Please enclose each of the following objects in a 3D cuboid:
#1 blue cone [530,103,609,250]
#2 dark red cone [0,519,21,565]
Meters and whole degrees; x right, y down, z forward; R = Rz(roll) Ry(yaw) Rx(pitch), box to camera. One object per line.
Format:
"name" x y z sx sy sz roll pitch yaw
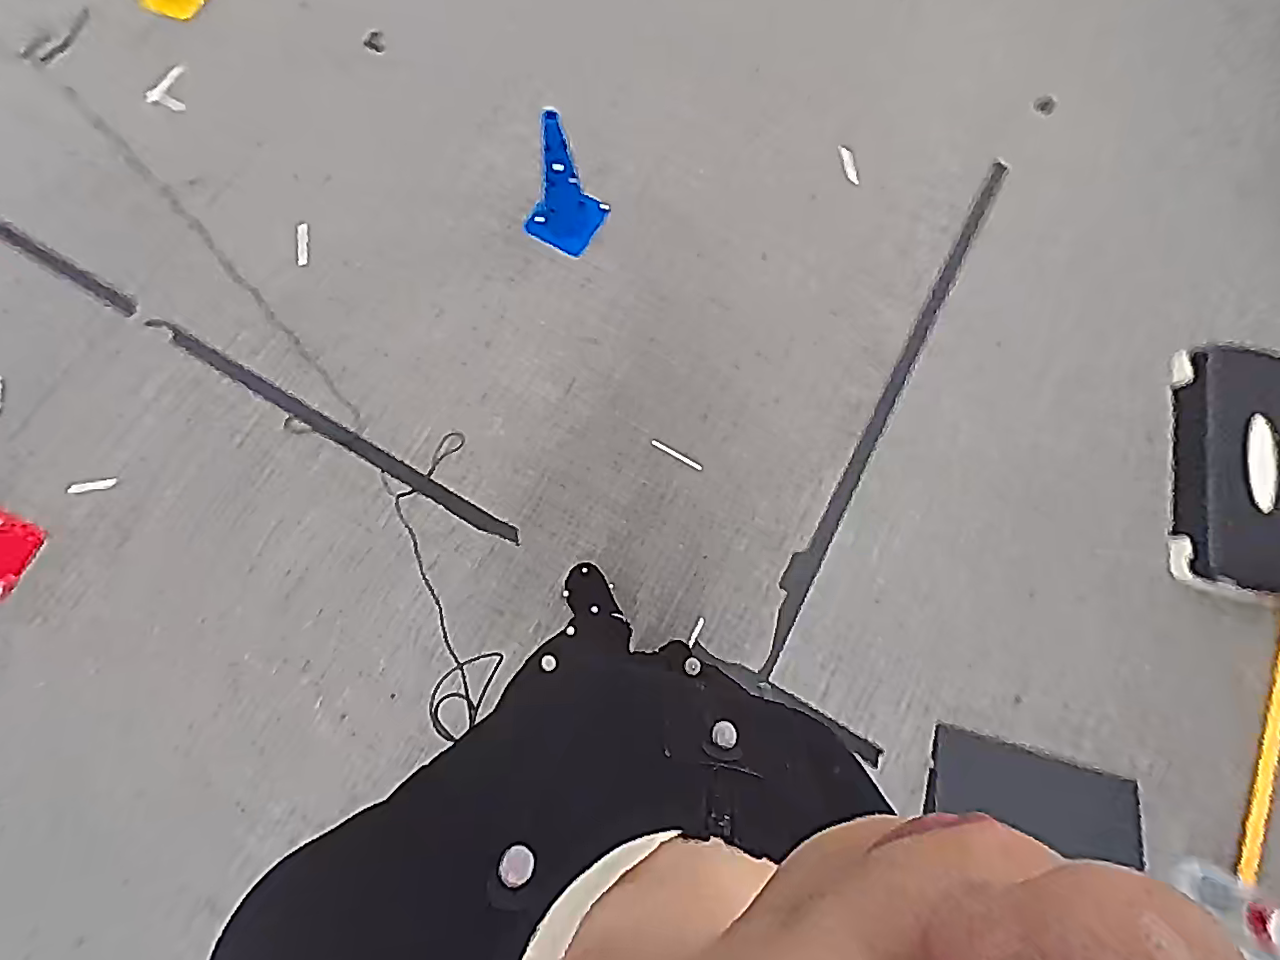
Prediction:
"blue cone" -0.207 -0.819 1.444 0.193 0.380 0.192 30 78 5
"dark red cone" -1.658 0.141 1.176 0.202 0.394 0.201 22 77 4
